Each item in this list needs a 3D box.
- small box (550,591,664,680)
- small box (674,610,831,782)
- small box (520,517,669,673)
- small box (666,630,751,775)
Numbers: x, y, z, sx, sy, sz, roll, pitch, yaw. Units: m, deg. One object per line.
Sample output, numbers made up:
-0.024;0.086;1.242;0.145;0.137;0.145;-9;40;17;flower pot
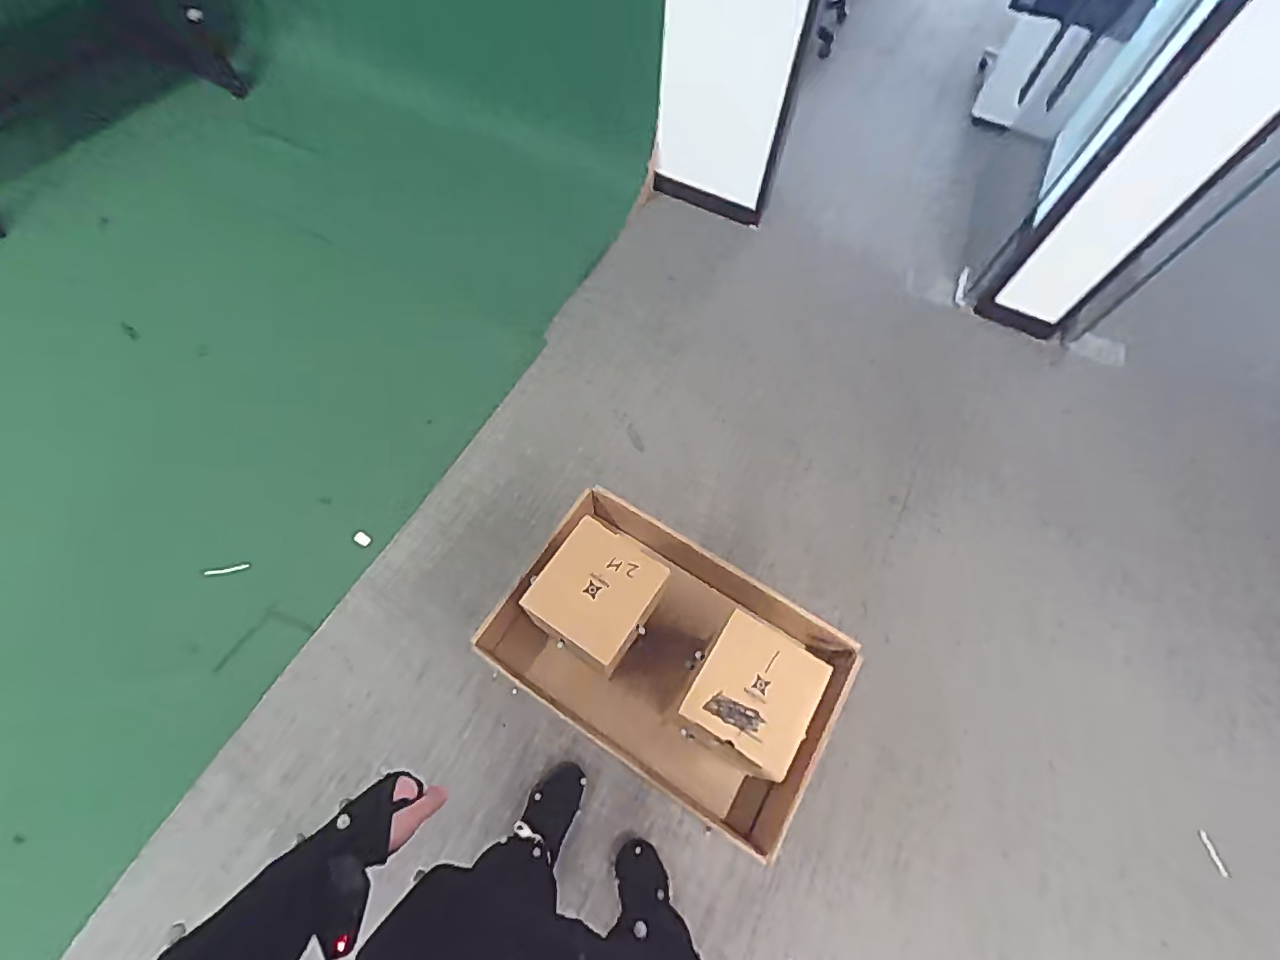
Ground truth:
-0.072;0.262;1.050;0.168;0.176;0.179;33;67;15;small box
0.164;0.335;0.843;0.168;0.176;0.179;31;67;12;small box
-0.069;0.199;0.899;0.168;0.176;0.179;33;68;12;small box
0.158;0.407;0.991;0.168;0.176;0.179;31;67;13;small box
